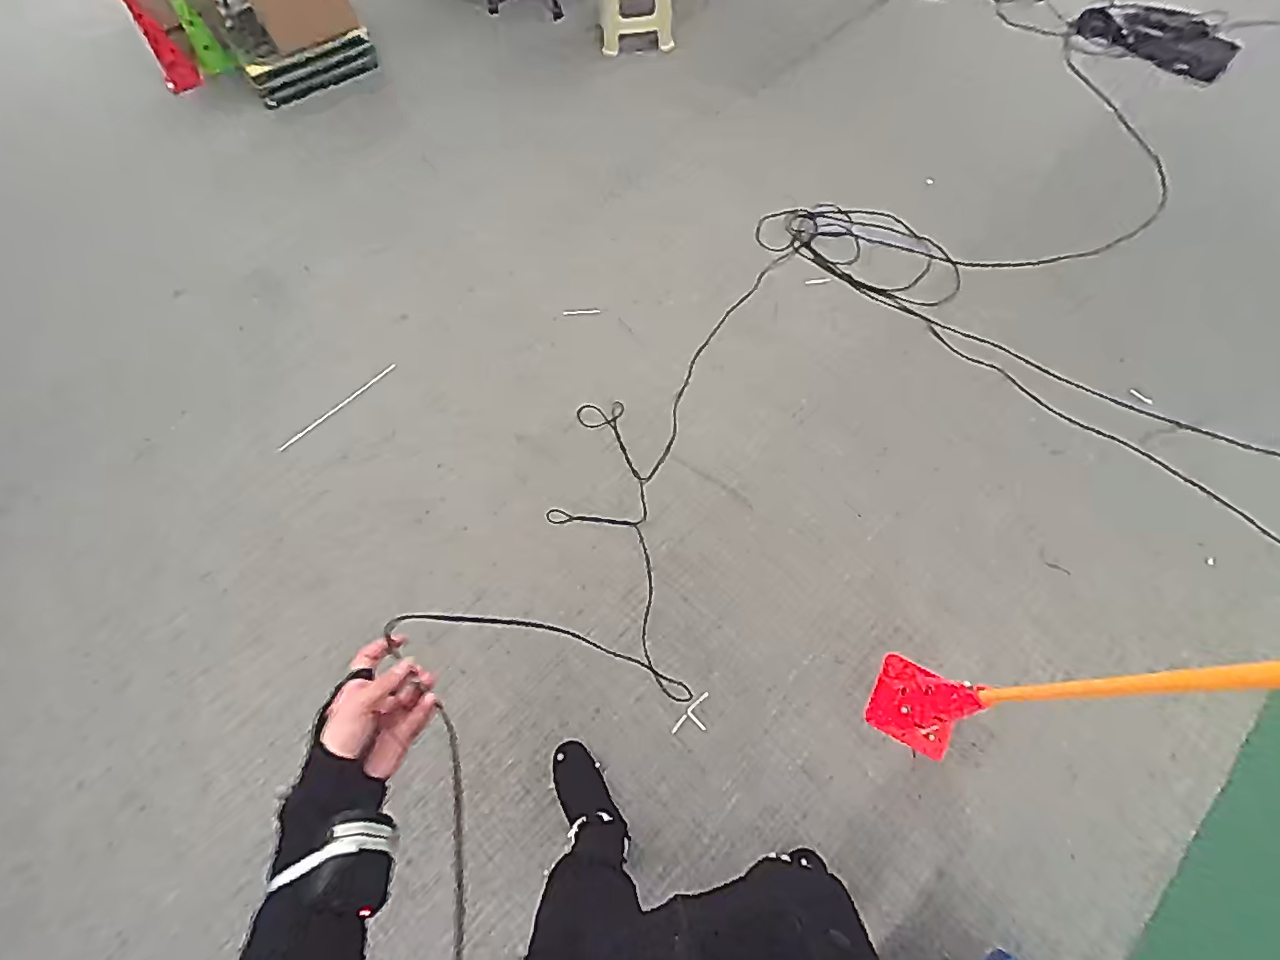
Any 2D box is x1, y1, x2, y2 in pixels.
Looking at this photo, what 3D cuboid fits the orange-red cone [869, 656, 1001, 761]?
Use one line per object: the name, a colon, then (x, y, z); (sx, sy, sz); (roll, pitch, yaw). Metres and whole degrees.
orange-red cone: (0.695, 0.501, 1.219); (0.198, 0.360, 0.199); (28, 68, 14)
